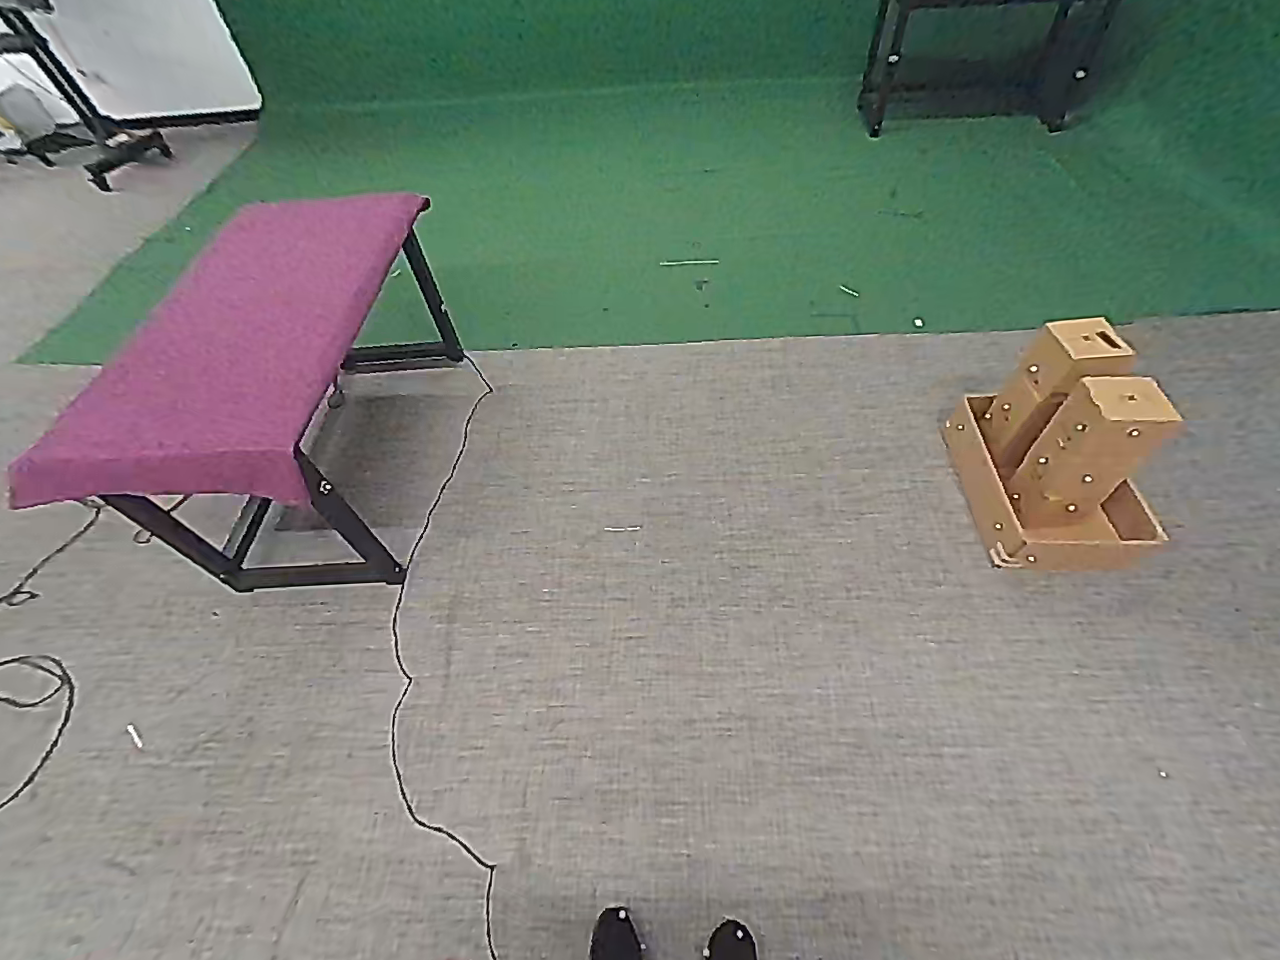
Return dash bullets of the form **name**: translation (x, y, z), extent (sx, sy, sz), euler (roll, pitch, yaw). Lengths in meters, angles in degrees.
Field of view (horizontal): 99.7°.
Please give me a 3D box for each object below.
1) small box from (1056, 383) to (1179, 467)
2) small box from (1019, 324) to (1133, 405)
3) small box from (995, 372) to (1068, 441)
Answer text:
- **small box**: translation (1.288, -0.149, 1.481), extent (0.179, 0.176, 0.168), euler (2, 51, 7)
- **small box**: translation (1.295, -0.343, 1.622), extent (0.179, 0.176, 0.168), euler (-5, 54, 1)
- **small box**: translation (1.299, -0.238, 1.748), extent (0.179, 0.176, 0.168), euler (0, 54, 4)
